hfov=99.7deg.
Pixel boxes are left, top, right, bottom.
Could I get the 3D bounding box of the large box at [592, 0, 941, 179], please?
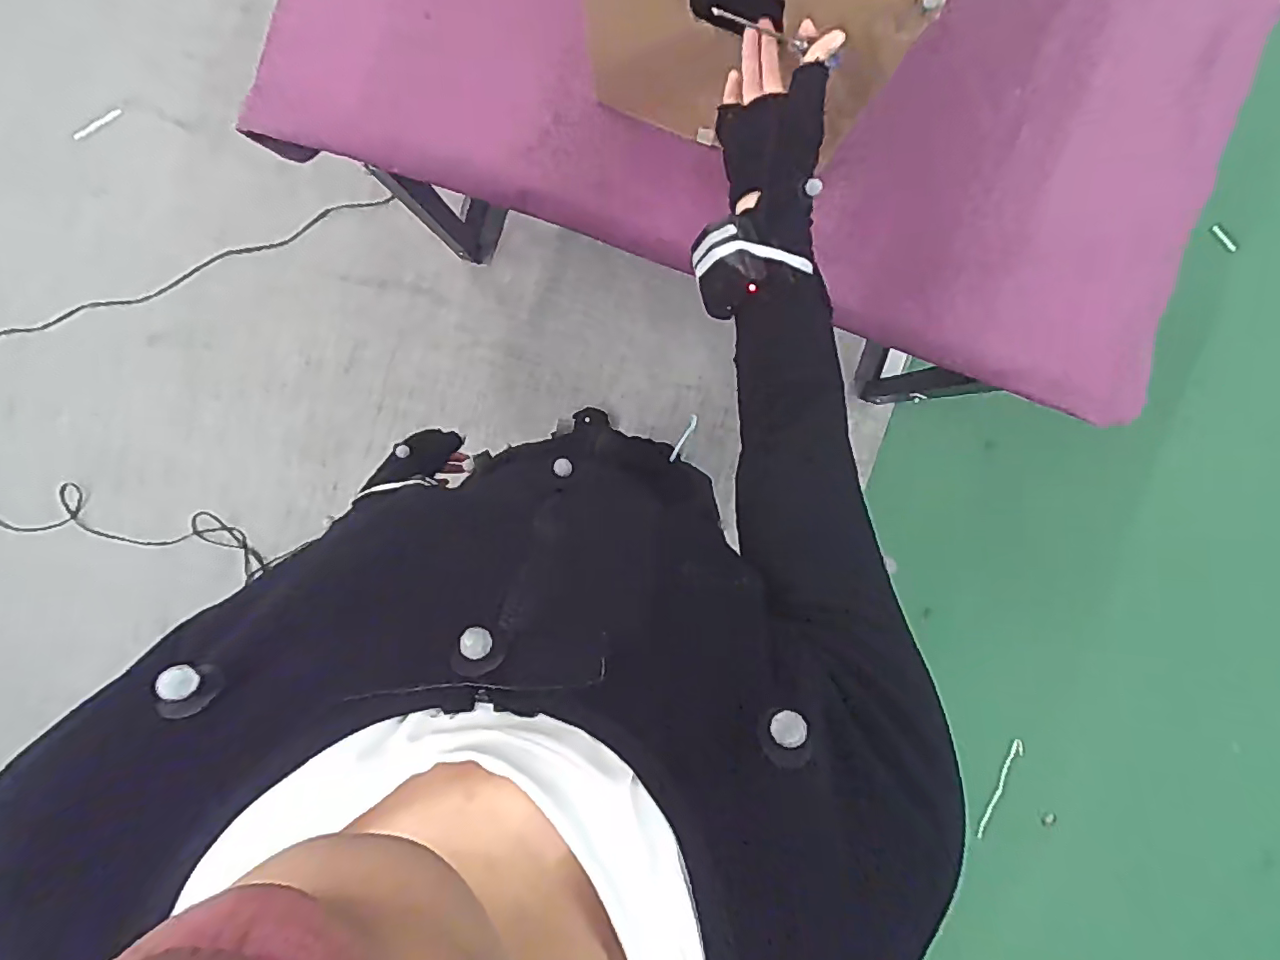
[{"bbox_3d":[0.156,-0.622,0.558,0.320,0.320,0.408,20,96,-2],"label":"large box"}]
